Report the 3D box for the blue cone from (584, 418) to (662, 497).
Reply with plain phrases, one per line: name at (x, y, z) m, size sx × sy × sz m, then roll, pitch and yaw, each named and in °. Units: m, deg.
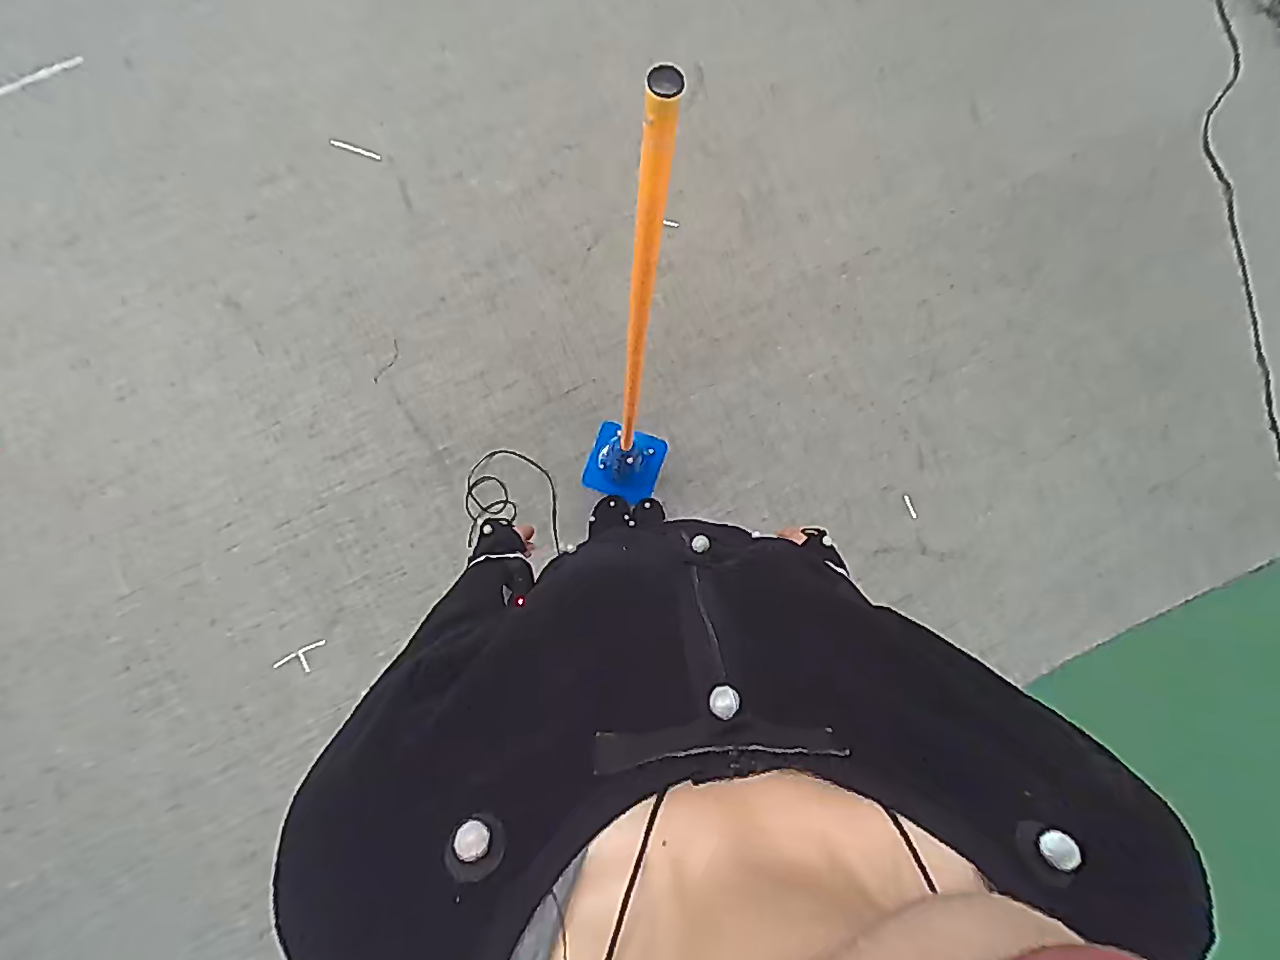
blue cone at (-0.039, -0.077, 1.330) m, size 0.192 × 0.380 × 0.193 m, roll 19°, pitch 85°, yaw -1°
